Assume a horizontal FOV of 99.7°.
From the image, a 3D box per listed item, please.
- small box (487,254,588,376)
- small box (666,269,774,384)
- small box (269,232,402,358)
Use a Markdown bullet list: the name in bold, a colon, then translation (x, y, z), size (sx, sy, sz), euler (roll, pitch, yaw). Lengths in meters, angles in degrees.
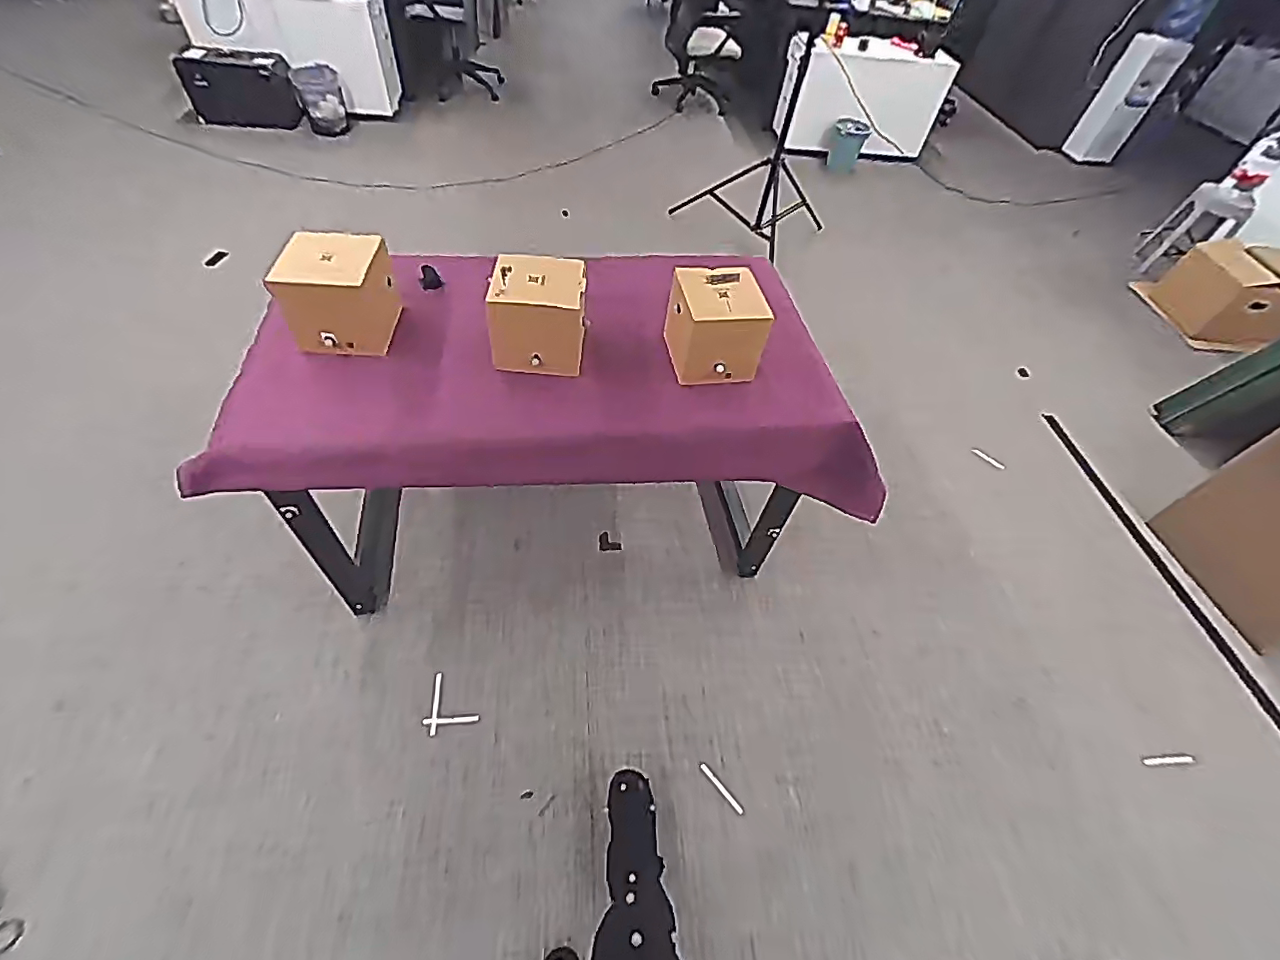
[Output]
- **small box**: translation (-0.203, -0.332, 1.106), size (0.179, 0.176, 0.168), euler (4, 52, -5)
- **small box**: translation (0.159, -0.324, 1.145), size (0.168, 0.176, 0.179), euler (-5, 53, -10)
- **small box**: translation (-0.593, -0.368, 1.083), size (0.168, 0.176, 0.179), euler (0, 53, -6)
